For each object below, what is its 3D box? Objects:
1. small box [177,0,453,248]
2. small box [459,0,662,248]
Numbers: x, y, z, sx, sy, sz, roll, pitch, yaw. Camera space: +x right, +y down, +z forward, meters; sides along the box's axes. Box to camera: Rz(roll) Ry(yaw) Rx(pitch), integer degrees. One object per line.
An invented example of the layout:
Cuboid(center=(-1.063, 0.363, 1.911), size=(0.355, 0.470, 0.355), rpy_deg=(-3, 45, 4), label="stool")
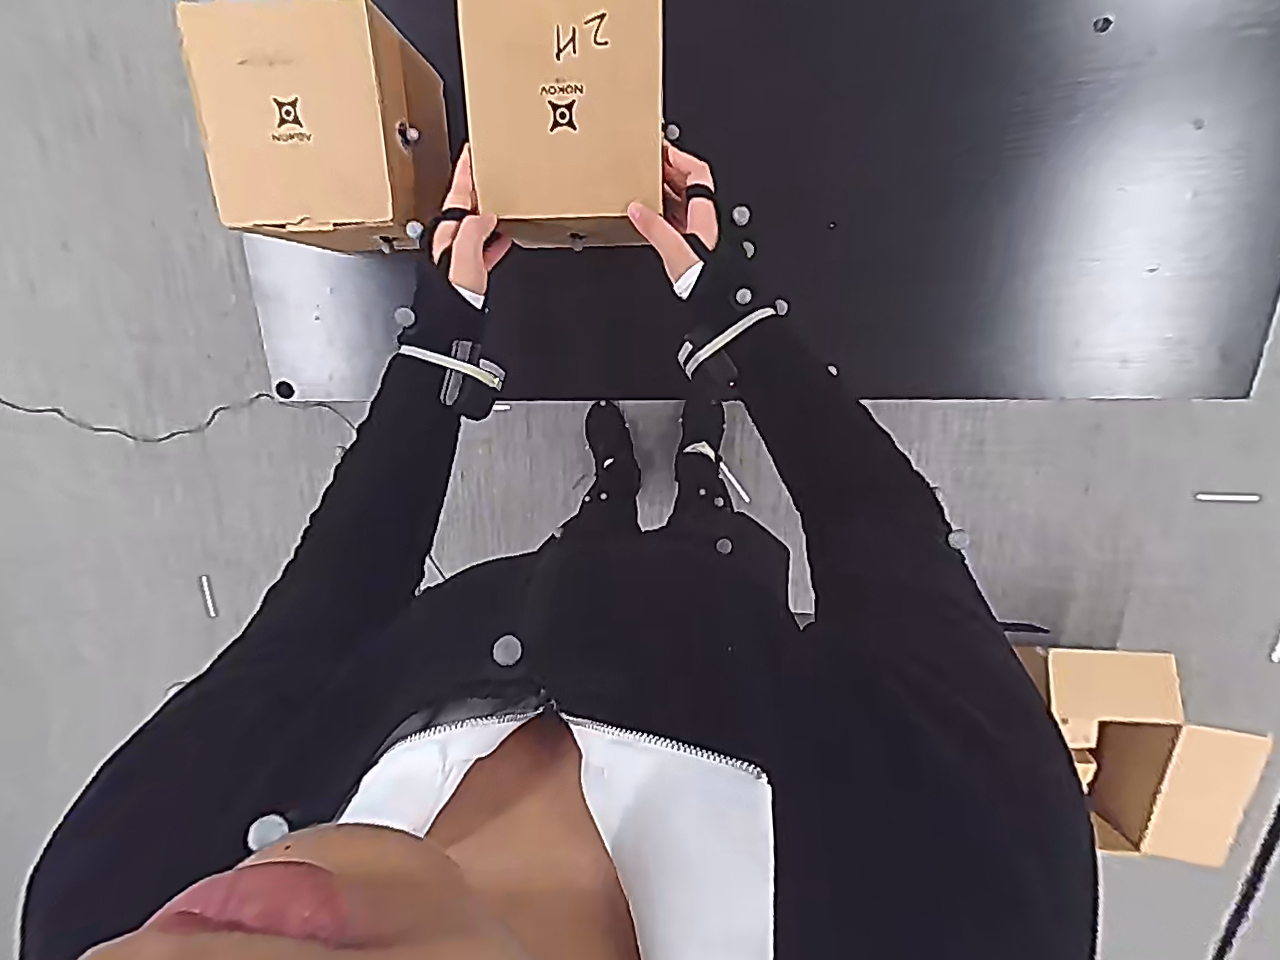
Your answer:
Cuboid(center=(-0.303, -0.338, 0.549), size=(0.168, 0.176, 0.179), rpy_deg=(-1, 105, 2), label="small box")
Cuboid(center=(-0.062, -0.331, 0.531), size=(0.168, 0.176, 0.179), rpy_deg=(0, 104, 2), label="small box")
